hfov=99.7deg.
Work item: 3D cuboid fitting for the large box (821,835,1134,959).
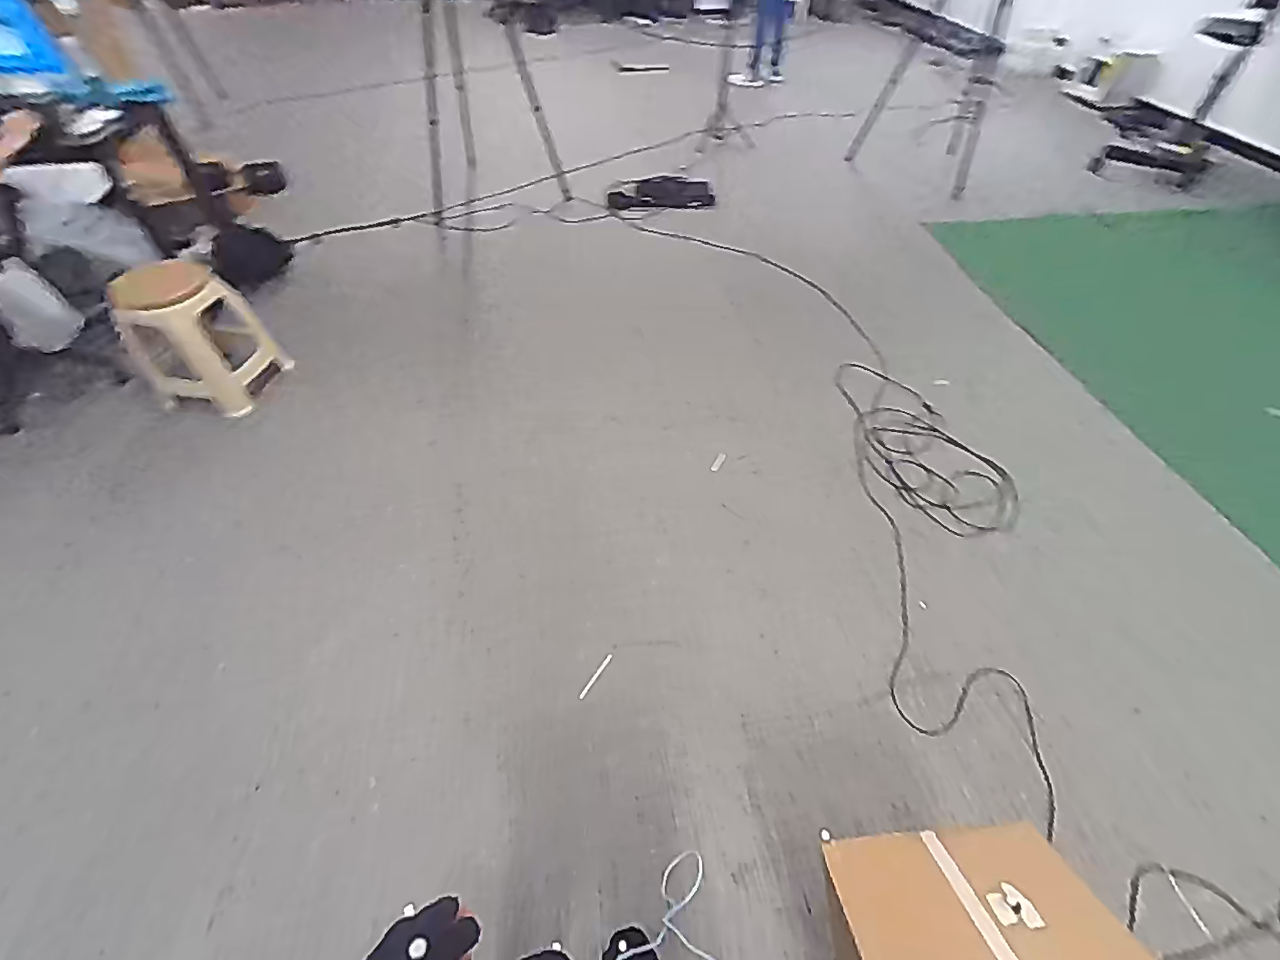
[{"bbox_3d":[0.438,0.719,0.635,0.320,0.320,0.408,-7,6,4],"label":"large box"}]
